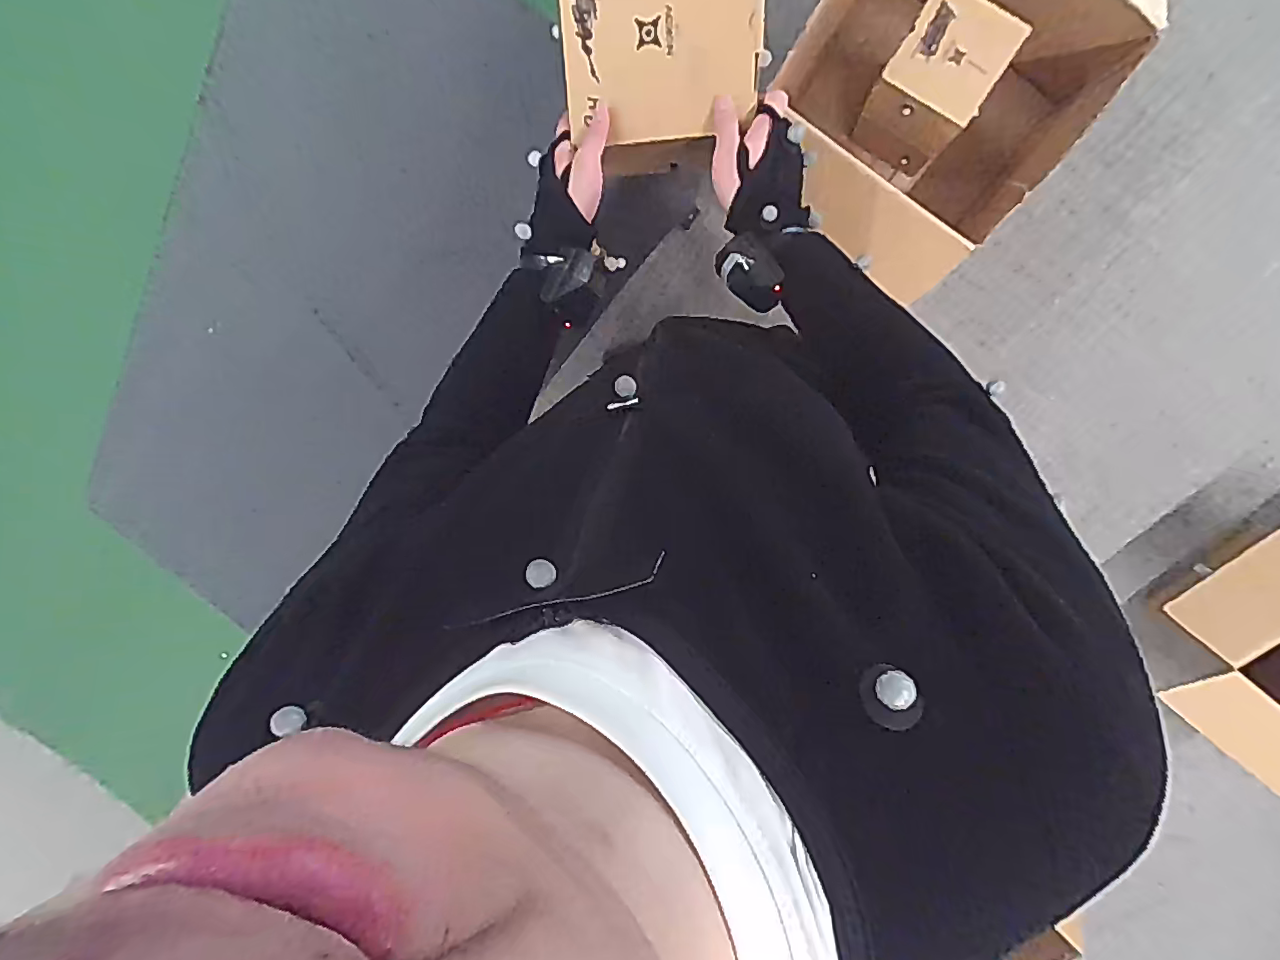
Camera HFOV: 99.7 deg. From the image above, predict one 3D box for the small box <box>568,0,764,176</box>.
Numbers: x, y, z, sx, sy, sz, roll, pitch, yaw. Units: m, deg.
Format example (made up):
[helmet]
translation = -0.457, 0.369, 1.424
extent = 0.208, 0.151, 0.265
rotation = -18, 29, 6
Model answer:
[small box]
translation = 0.033, -0.428, 0.564
extent = 0.179, 0.176, 0.168
rotation = -2, 112, 9
